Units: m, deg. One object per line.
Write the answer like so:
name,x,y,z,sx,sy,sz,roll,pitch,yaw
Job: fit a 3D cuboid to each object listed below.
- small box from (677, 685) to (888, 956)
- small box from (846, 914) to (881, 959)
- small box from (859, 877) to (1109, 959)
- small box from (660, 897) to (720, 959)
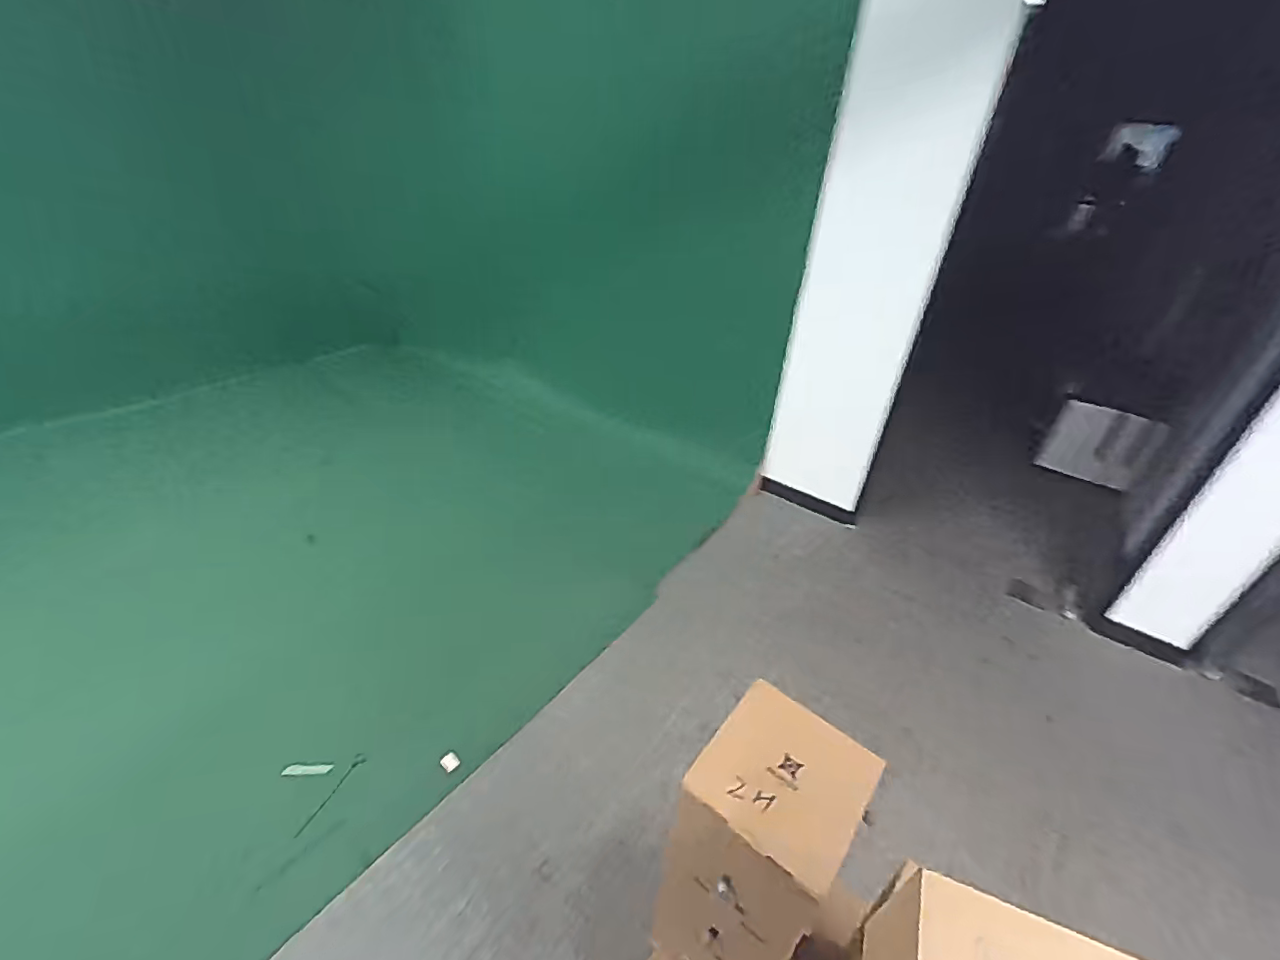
small box,0.157,0.390,0.634,0.168,0.176,0.179,28,42,30
small box,0.336,0.745,0.711,0.168,0.176,0.179,28,40,32
small box,0.218,0.382,0.309,0.168,0.176,0.179,14,43,20
small box,0.143,0.660,0.821,0.168,0.176,0.179,27,42,29
